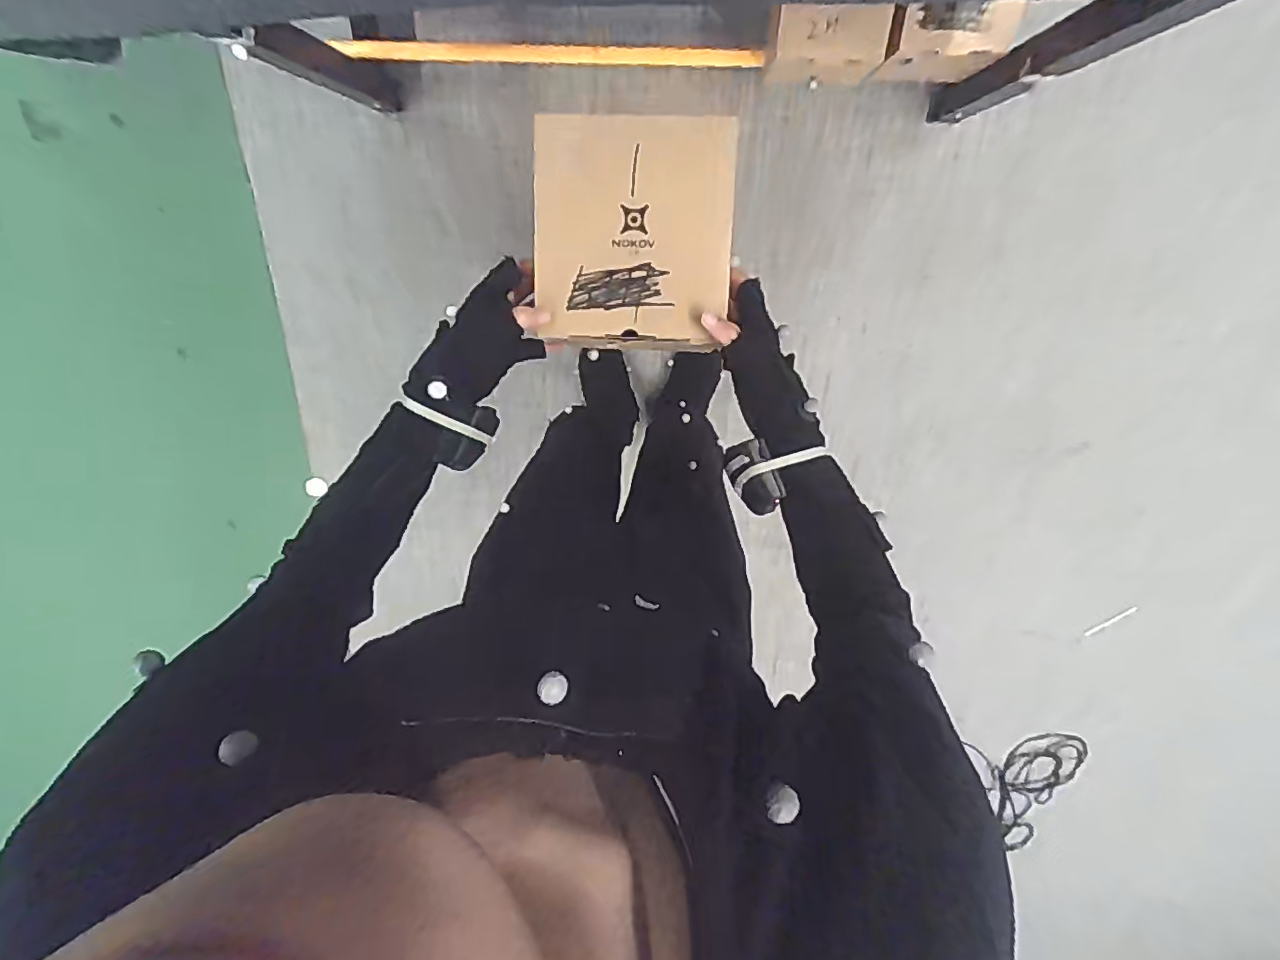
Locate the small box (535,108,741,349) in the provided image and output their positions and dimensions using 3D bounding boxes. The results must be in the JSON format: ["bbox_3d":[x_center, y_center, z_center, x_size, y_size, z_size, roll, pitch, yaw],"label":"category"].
[{"bbox_3d":[0.001,-0.222,0.522,0.168,0.176,0.179,2,99,3],"label":"small box"}]
